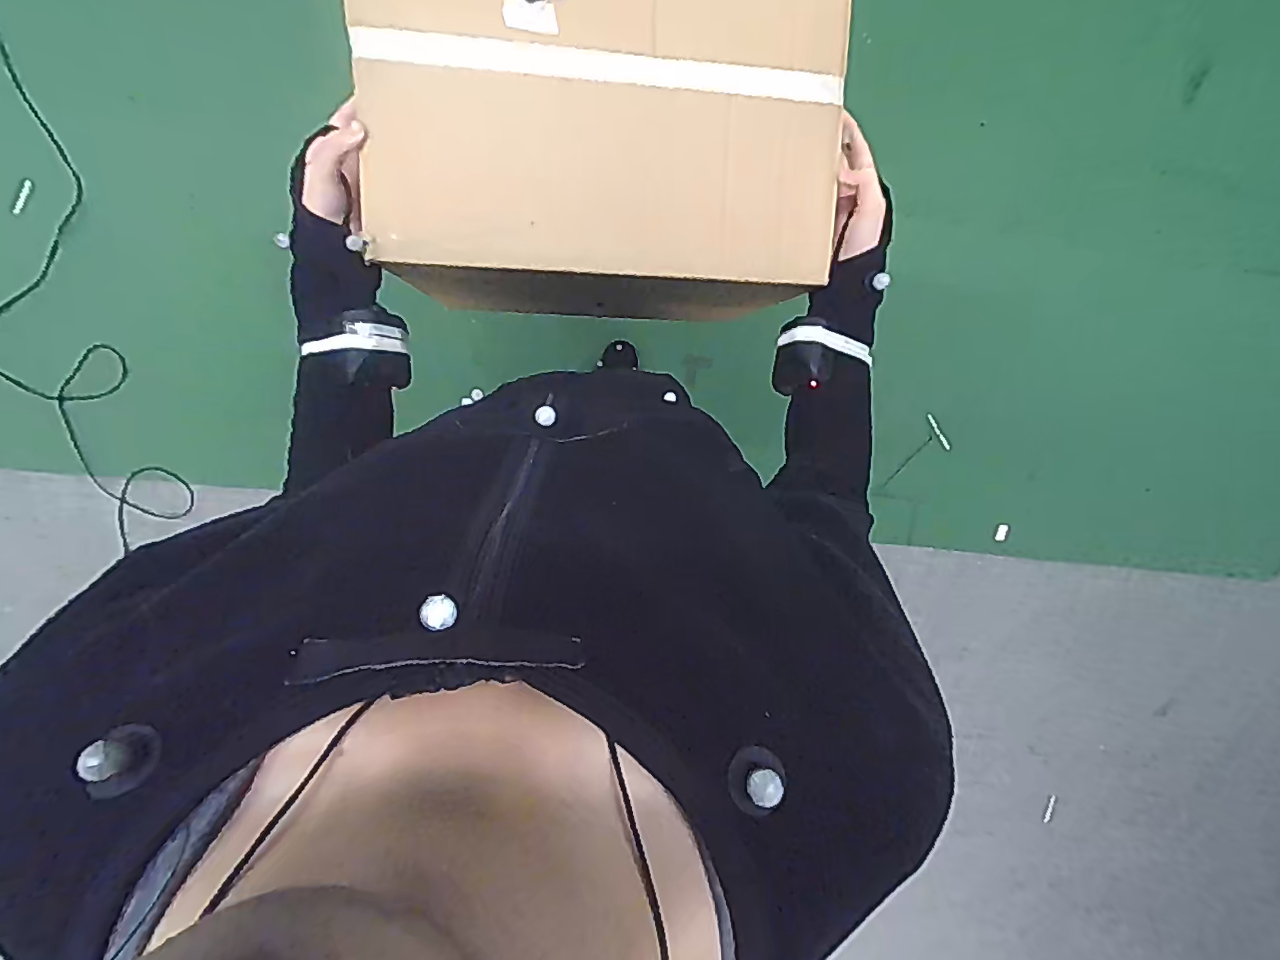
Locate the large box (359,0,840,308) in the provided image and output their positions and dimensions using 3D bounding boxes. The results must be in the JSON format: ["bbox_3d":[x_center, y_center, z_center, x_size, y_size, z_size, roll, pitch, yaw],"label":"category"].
[{"bbox_3d":[-0.041,-0.368,0.600,0.408,0.320,0.320,0,100,-7],"label":"large box"}]
